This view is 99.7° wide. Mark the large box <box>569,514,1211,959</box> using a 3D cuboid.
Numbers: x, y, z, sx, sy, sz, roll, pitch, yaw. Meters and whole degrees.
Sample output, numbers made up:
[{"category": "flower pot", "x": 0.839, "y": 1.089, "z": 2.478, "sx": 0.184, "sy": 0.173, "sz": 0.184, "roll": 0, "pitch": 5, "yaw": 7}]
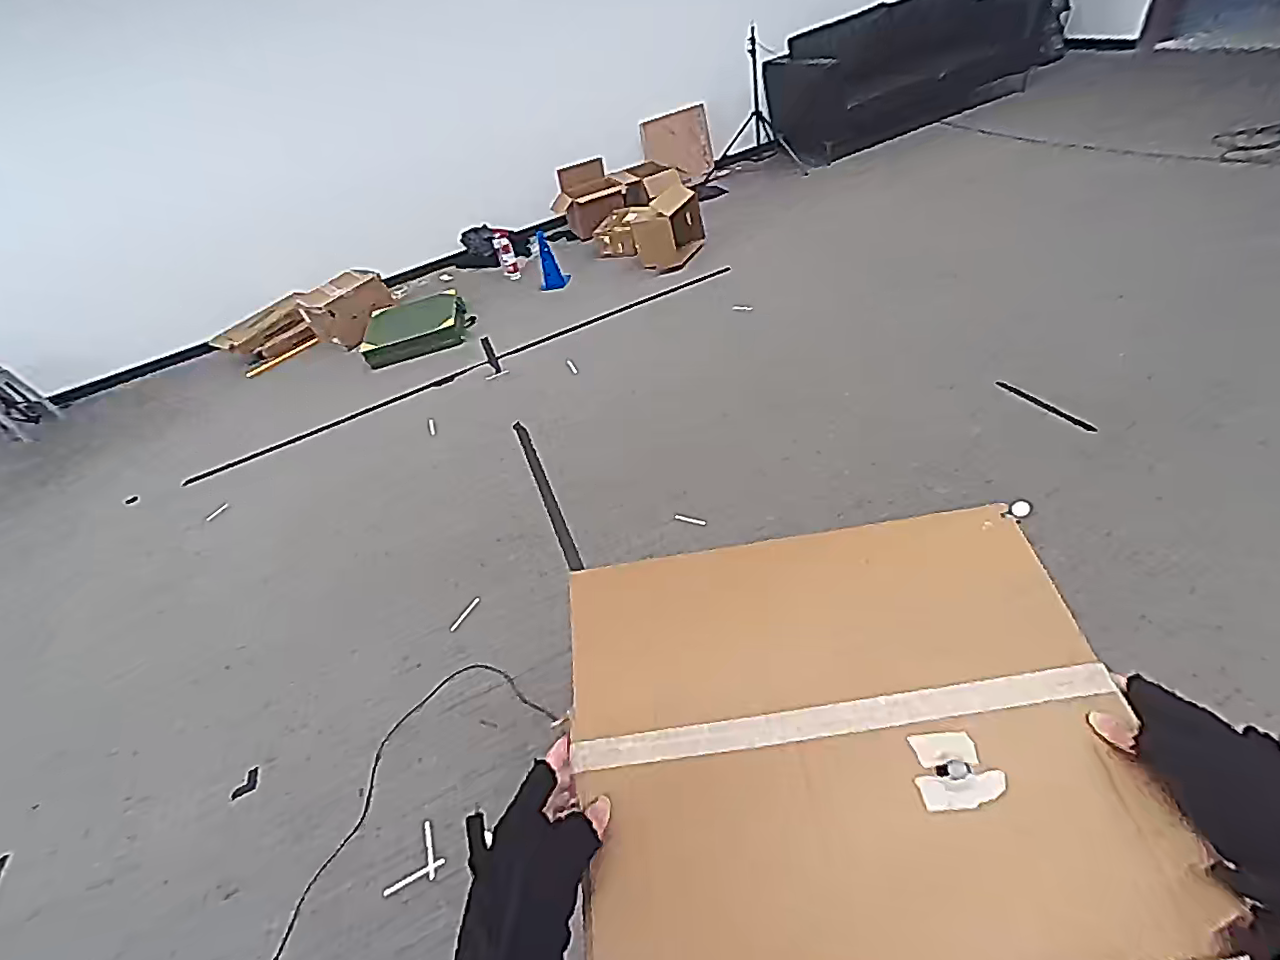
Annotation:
[{"category": "large box", "x": 0.163, "y": 0.274, "z": 0.549, "sx": 0.408, "sy": 0.320, "sz": 0.320, "roll": -10, "pitch": 56, "yaw": 2}]
